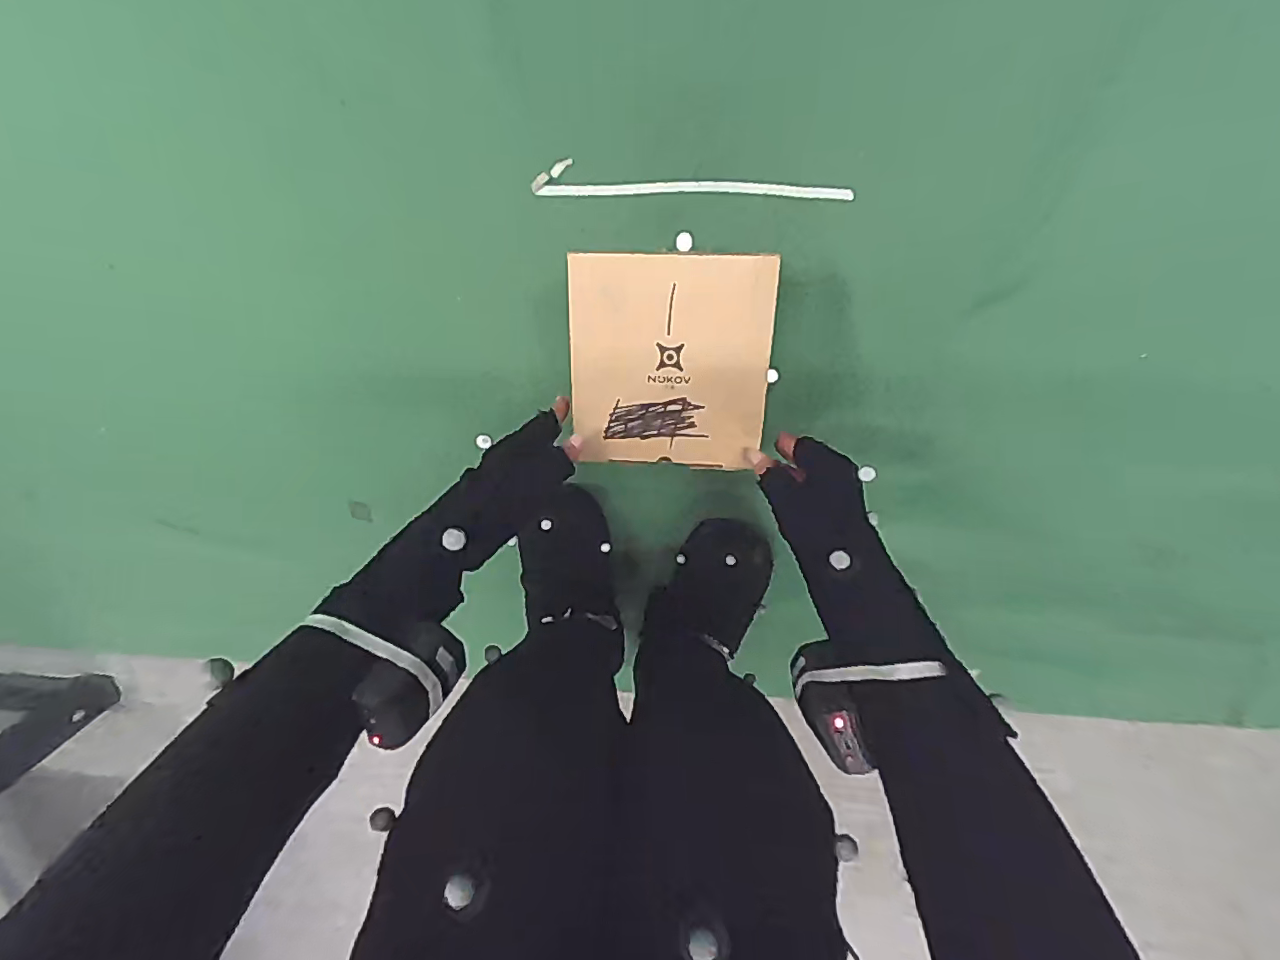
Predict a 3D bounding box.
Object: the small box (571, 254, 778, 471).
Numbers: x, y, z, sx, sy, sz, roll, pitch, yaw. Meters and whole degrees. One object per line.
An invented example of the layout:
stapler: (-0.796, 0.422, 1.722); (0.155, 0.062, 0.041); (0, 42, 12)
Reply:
small box: (0.032, -0.123, 0.526); (0.168, 0.176, 0.179); (3, 112, 5)
